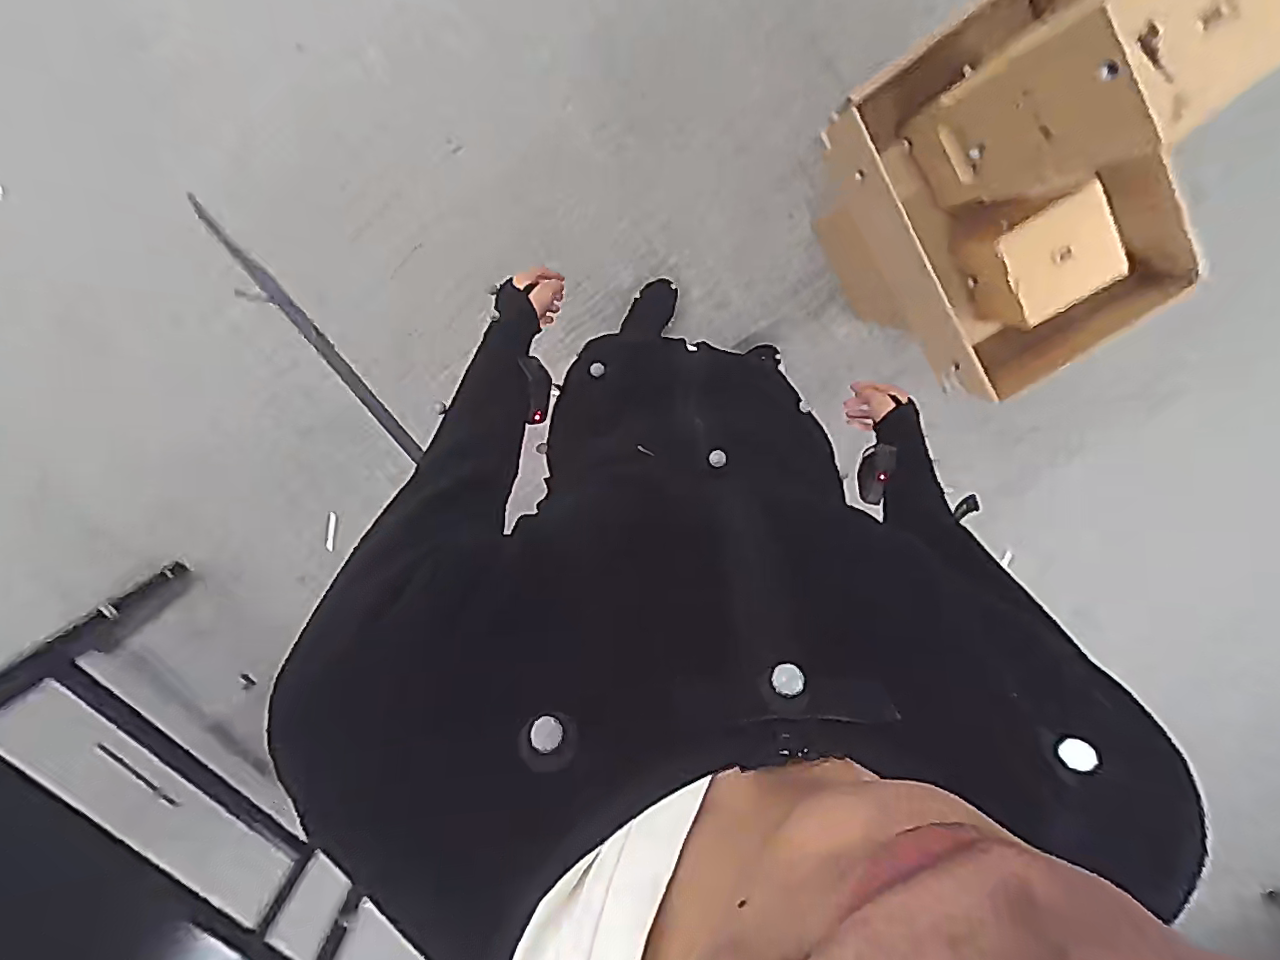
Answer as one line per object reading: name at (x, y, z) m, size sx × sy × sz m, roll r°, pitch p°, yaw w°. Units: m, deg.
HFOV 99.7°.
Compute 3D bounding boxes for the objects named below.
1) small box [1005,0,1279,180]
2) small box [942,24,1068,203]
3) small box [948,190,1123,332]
small box at (0.575, -0.483, 0.616) m, size 0.179 × 0.176 × 0.168 m, roll -36°, pitch 104°, yaw 12°
small box at (0.582, -0.532, 0.773) m, size 0.179 × 0.176 × 0.168 m, roll -35°, pitch 105°, yaw 13°
small box at (0.713, -0.395, 0.993) m, size 0.179 × 0.176 × 0.168 m, roll -31°, pitch 105°, yaw 12°
